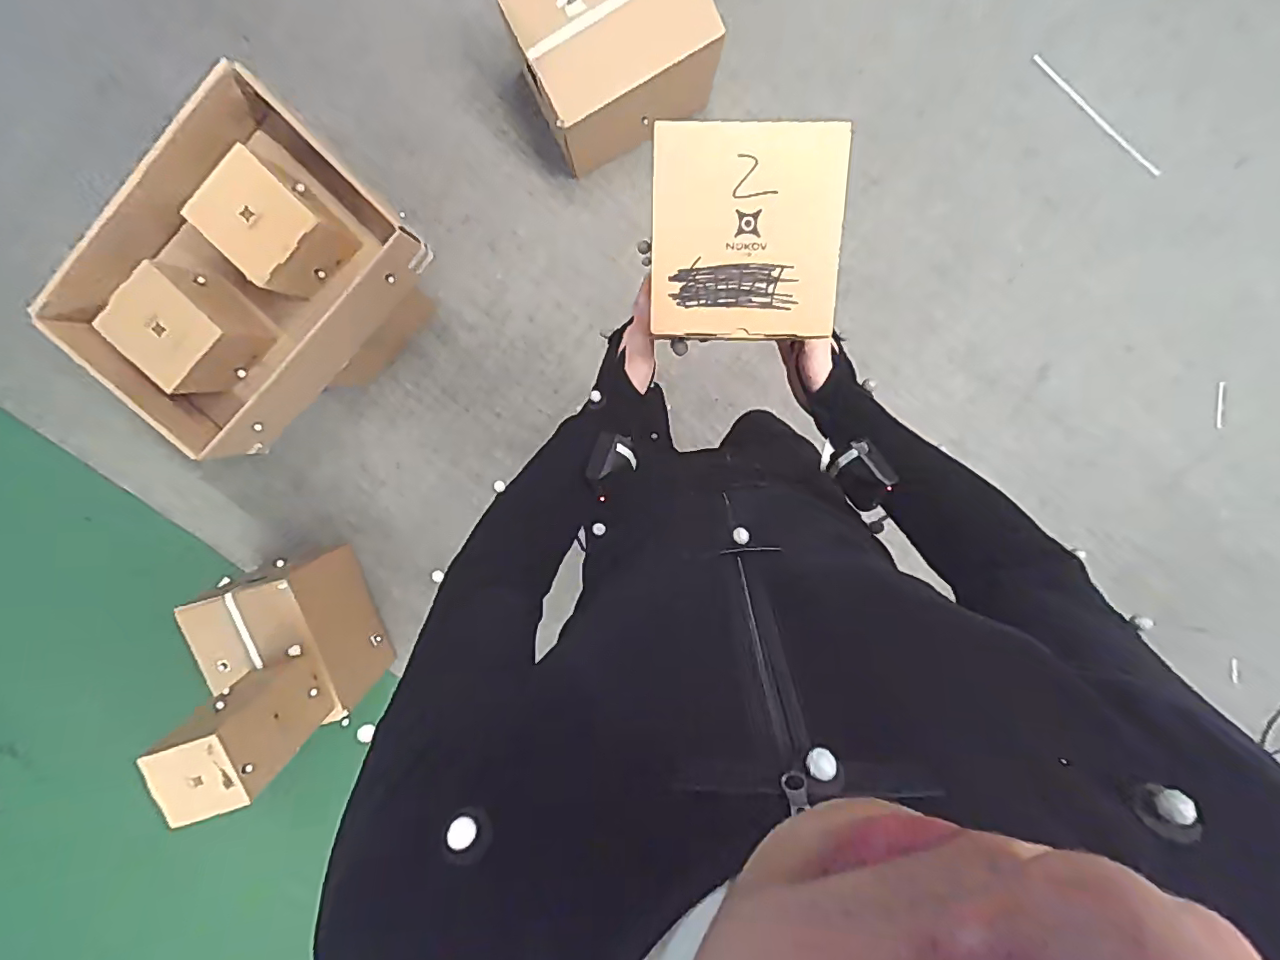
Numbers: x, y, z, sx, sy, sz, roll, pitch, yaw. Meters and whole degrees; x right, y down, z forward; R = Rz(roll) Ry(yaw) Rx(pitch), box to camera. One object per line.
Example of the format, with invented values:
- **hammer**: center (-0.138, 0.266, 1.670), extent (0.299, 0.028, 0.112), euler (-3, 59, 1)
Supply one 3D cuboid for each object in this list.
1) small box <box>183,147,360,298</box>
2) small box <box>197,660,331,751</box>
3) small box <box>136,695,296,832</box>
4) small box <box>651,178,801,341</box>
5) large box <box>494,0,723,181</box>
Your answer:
- **small box**: center (-0.680, -0.468, 1.019), extent (0.168, 0.176, 0.179), euler (-44, 99, 6)
- **small box**: center (-0.895, 0.565, 1.305), extent (0.179, 0.176, 0.168), euler (-17, 100, 1)
- **small box**: center (-0.882, 0.590, 1.143), extent (0.179, 0.176, 0.168), euler (-18, 100, 2)
- **small box**: center (0.100, -0.273, 0.706), extent (0.168, 0.176, 0.179), euler (1, 103, 1)
- **large box**: center (-0.065, -1.006, 1.289), extent (0.408, 0.320, 0.320), euler (-28, 99, 5)
